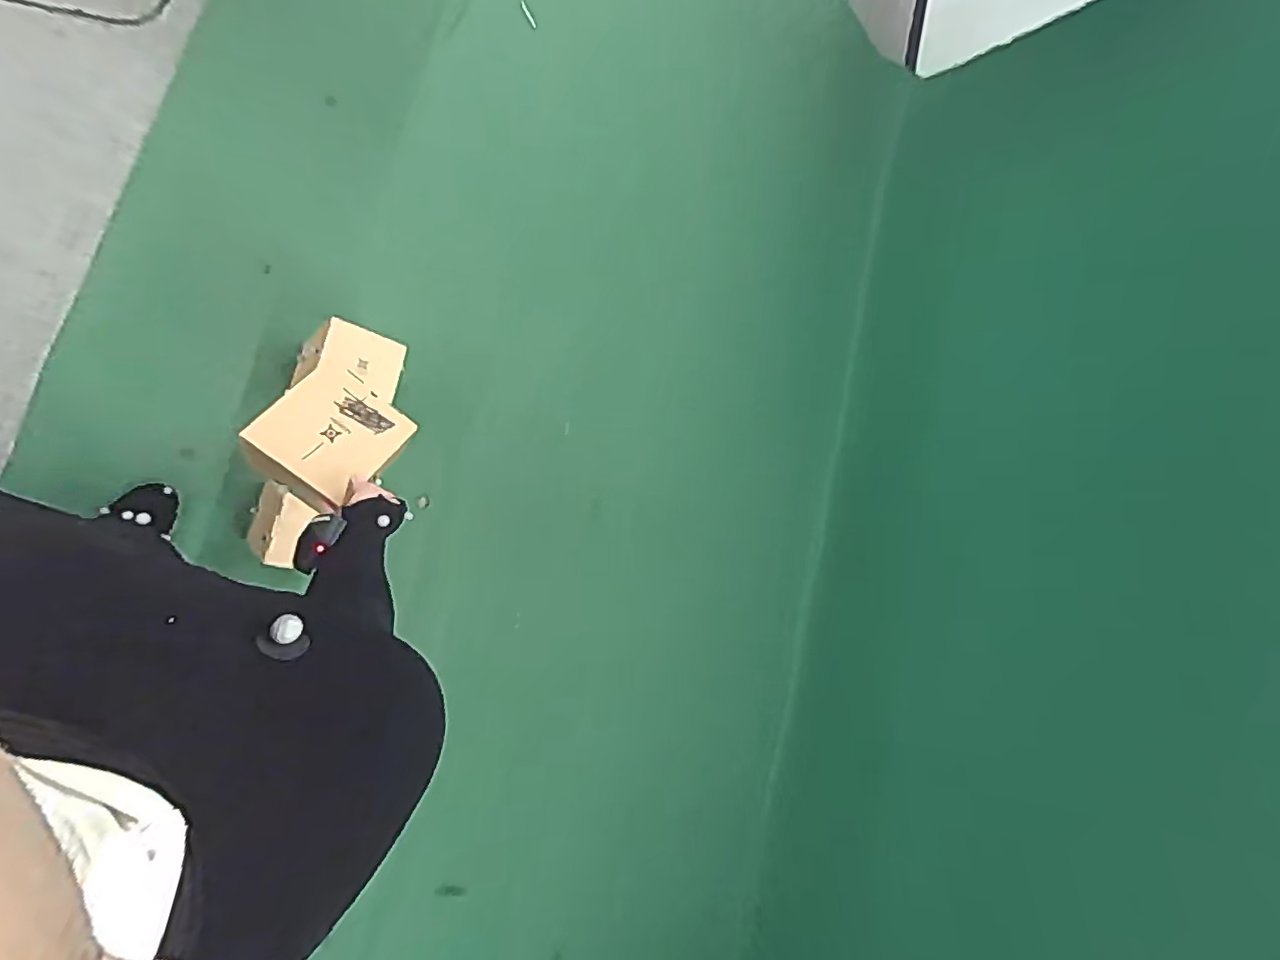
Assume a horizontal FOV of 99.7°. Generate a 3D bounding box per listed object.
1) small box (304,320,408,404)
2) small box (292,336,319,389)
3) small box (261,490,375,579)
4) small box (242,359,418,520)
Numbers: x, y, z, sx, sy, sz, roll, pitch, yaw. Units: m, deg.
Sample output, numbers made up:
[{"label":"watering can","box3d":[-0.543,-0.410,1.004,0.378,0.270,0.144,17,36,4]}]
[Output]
[{"label":"small box","box3d":[-0.677,-0.250,1.277,0.168,0.176,0.179,19,79,-40]},{"label":"small box","box3d":[-0.782,-0.251,1.403,0.179,0.176,0.168,19,79,-41]},{"label":"small box","box3d":[-0.740,0.120,1.236,0.179,0.176,0.168,20,80,-39]},{"label":"small box","box3d":[-0.496,-0.057,0.873,0.168,0.176,0.179,41,60,-17]}]
